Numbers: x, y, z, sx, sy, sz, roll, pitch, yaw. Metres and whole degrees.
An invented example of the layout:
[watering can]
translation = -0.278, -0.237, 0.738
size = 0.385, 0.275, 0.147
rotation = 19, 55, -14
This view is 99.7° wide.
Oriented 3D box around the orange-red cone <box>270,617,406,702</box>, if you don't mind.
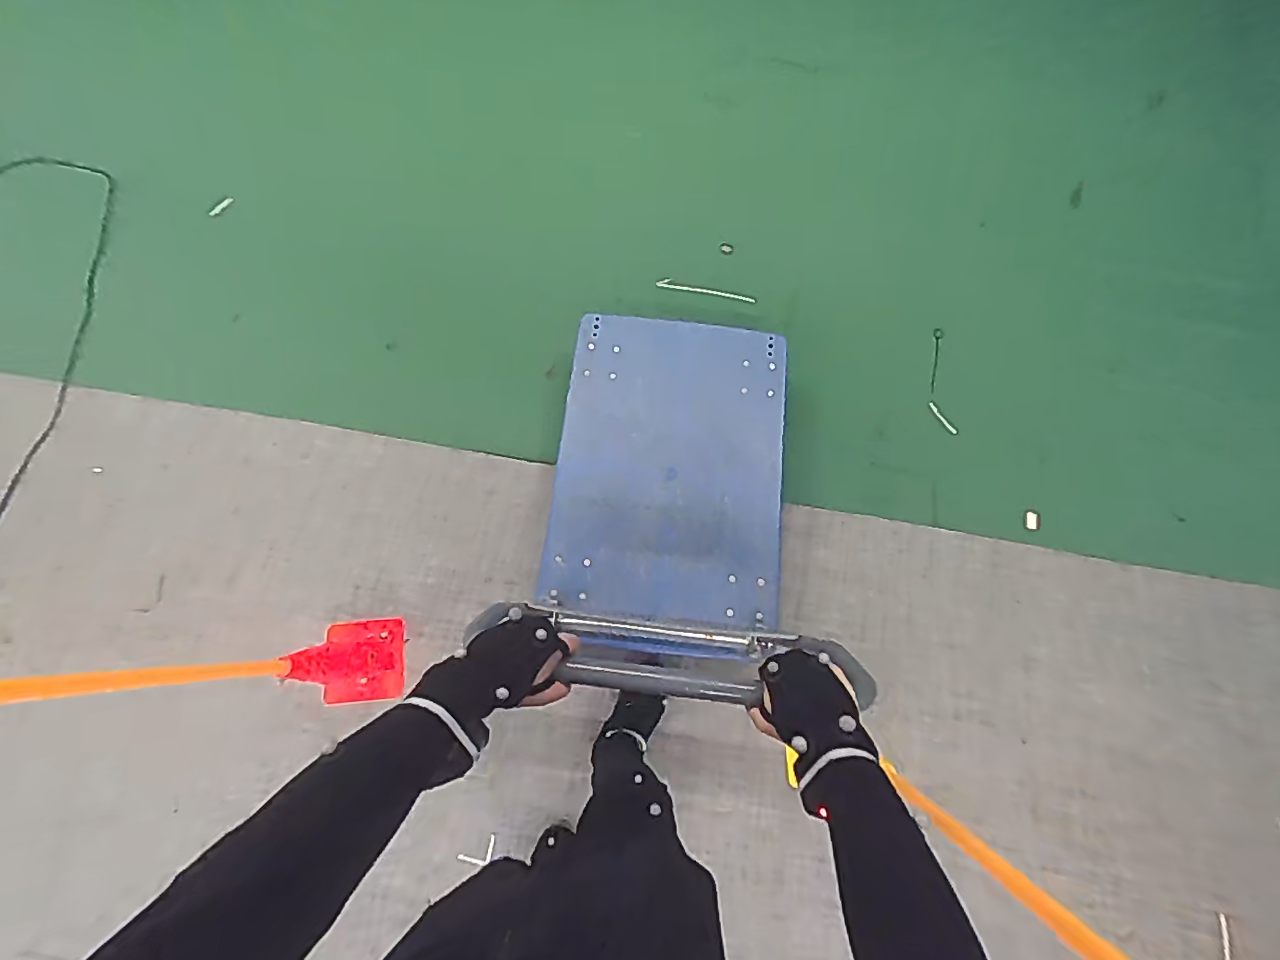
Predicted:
[orange-red cone]
translation = -0.702, 0.408, 1.215
size = 0.199, 0.360, 0.198
rotation = -5, 74, -1
